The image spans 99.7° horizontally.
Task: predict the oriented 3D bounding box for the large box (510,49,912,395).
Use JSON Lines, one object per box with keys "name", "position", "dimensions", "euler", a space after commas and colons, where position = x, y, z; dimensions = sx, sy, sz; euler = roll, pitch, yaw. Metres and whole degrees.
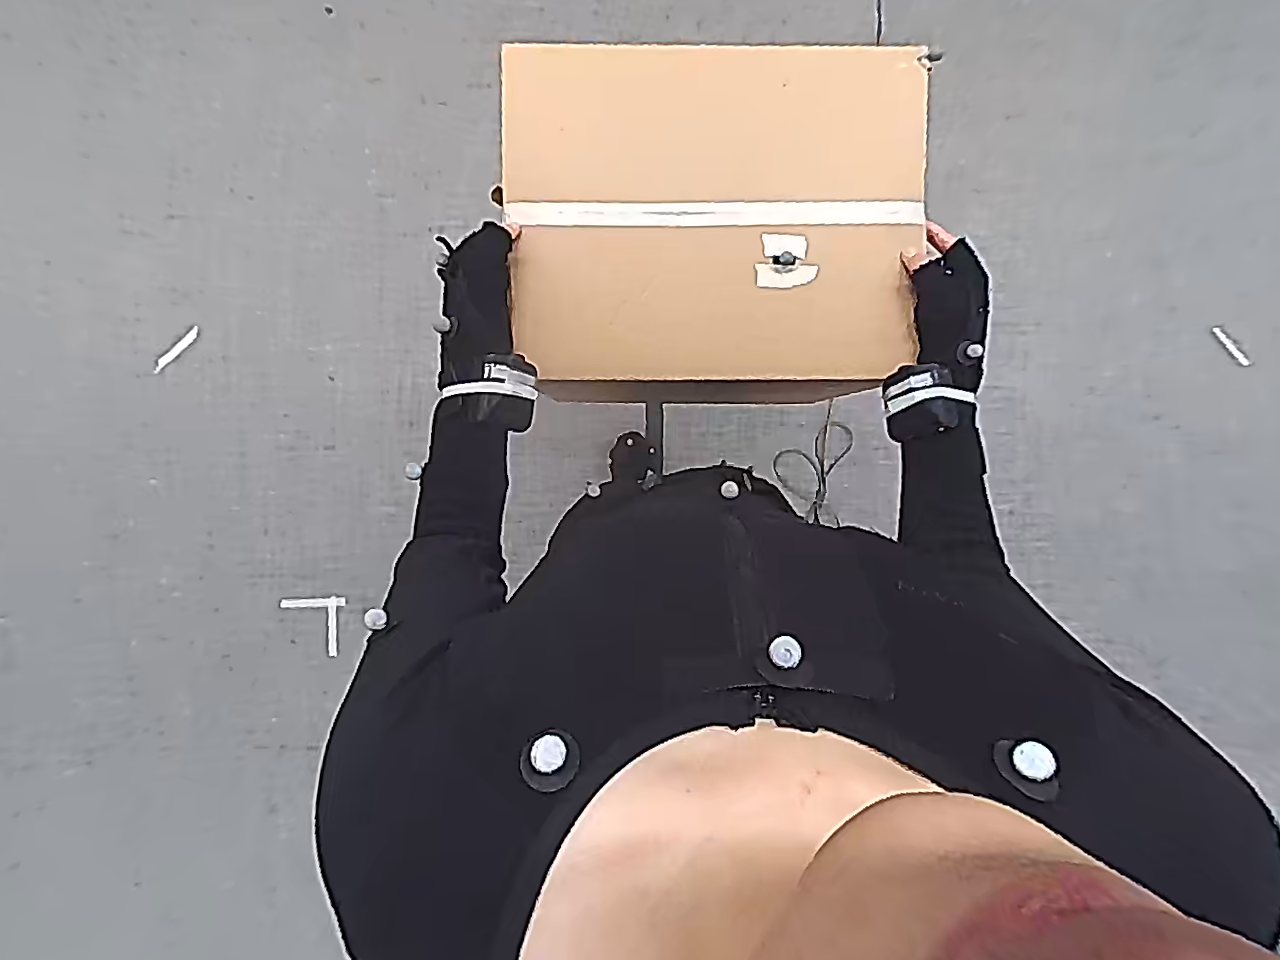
{"name": "large box", "position": [0.068, -0.280, 0.689], "dimensions": [0.408, 0.320, 0.320], "euler": [0, 95, -1]}
